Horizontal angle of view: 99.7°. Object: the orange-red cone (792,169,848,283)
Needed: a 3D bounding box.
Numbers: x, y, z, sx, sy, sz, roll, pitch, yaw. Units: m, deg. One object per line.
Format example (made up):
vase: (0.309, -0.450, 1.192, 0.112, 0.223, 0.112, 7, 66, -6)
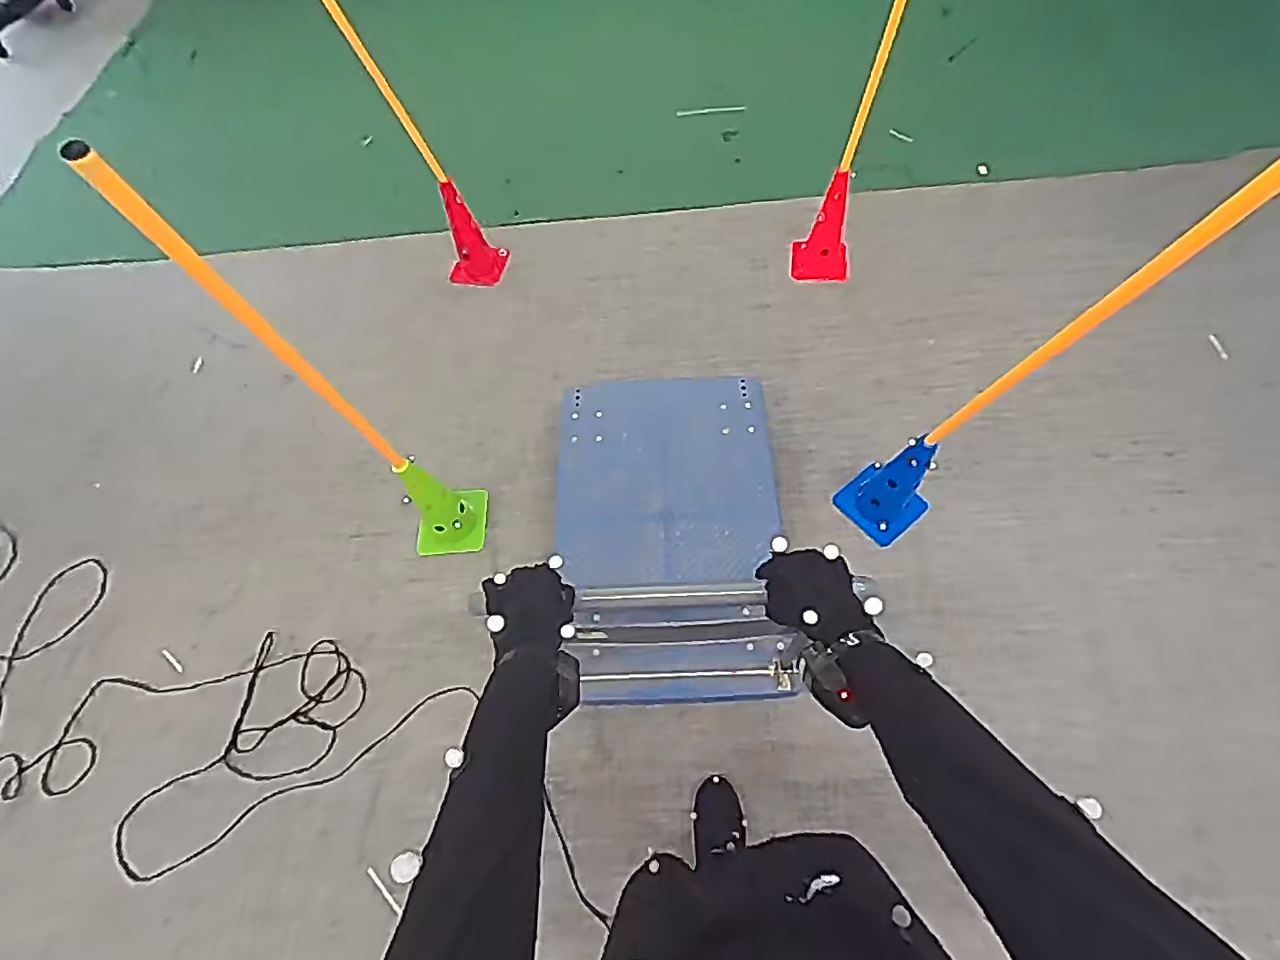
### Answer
orange-red cone: (0.646, -0.873, 1.835, 0.198, 0.360, 0.199, 6, 65, 9)
